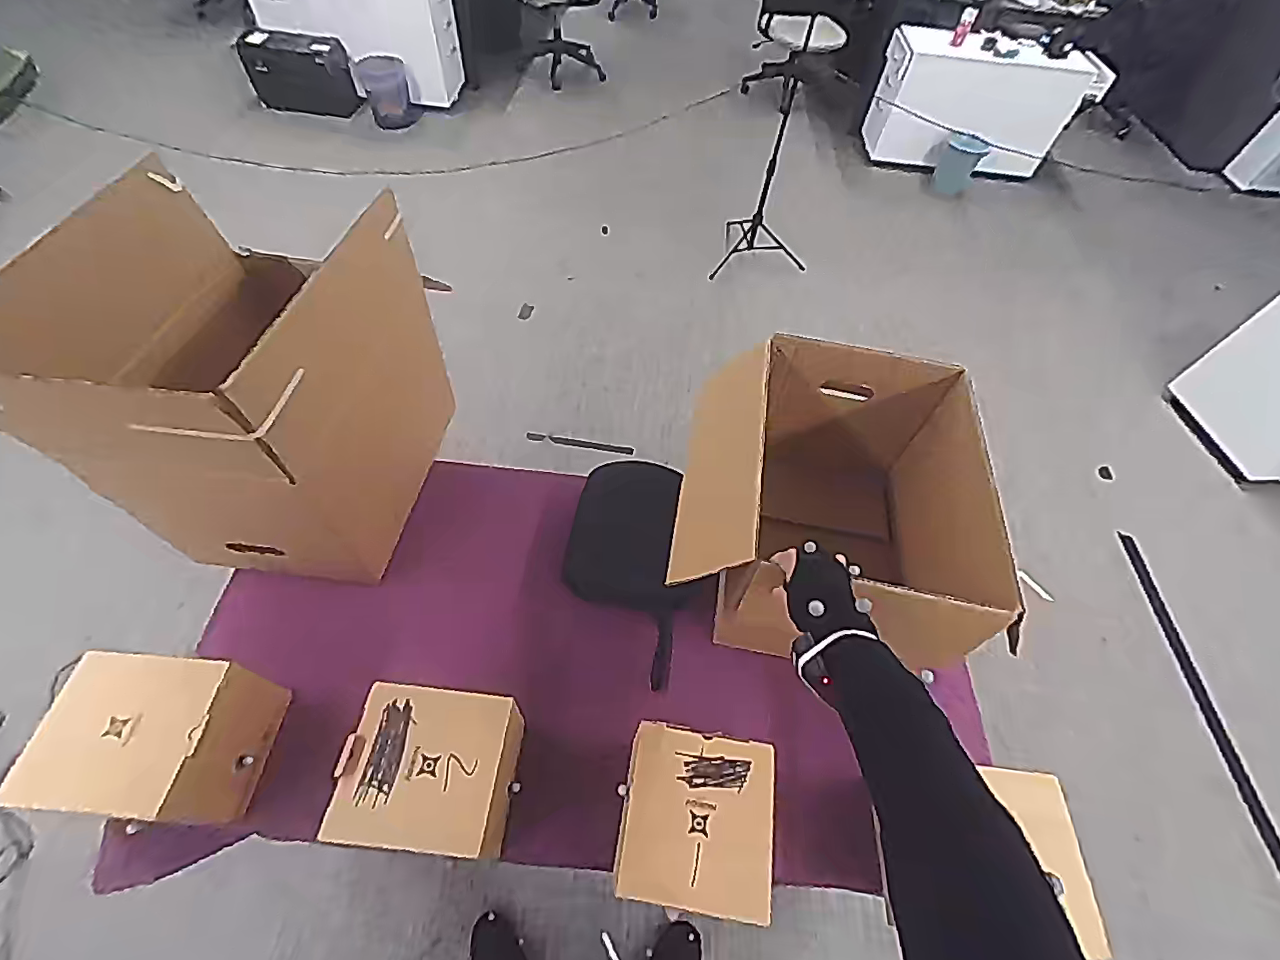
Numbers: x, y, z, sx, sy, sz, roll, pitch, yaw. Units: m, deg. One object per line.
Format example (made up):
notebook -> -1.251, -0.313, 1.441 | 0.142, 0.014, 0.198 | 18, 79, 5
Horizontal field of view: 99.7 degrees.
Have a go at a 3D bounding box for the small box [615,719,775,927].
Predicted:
small box -> 0.063, 0.421, 0.676 | 0.168, 0.176, 0.179 | 10, 57, 3

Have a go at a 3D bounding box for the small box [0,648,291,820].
small box -> -0.594, 0.326, 0.684 | 0.179, 0.176, 0.168 | 6, 55, -3

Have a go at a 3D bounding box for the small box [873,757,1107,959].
small box -> 0.410, 0.464, 0.676 | 0.168, 0.176, 0.179 | 6, 56, 1
